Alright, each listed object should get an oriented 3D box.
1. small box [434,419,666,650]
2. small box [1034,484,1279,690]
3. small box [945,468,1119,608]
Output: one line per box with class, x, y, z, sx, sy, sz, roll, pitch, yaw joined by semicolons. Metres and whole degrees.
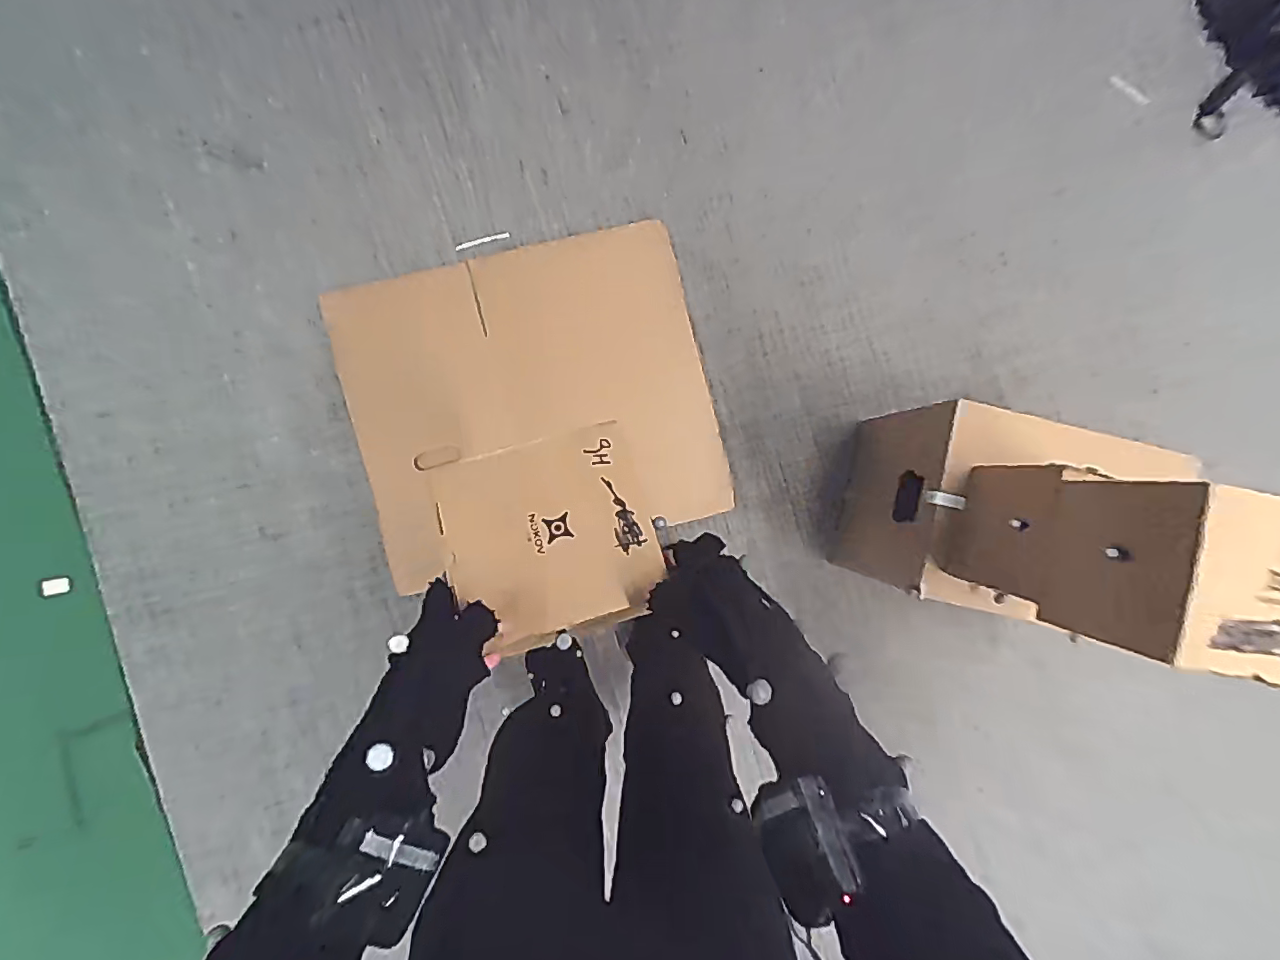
small box;-0.085;0.066;0.555;0.179;0.176;0.168;-18;72;-9
small box;0.570;0.103;0.583;0.168;0.176;0.179;8;91;-2
small box;0.561;0.087;0.747;0.168;0.176;0.179;16;91;-3
